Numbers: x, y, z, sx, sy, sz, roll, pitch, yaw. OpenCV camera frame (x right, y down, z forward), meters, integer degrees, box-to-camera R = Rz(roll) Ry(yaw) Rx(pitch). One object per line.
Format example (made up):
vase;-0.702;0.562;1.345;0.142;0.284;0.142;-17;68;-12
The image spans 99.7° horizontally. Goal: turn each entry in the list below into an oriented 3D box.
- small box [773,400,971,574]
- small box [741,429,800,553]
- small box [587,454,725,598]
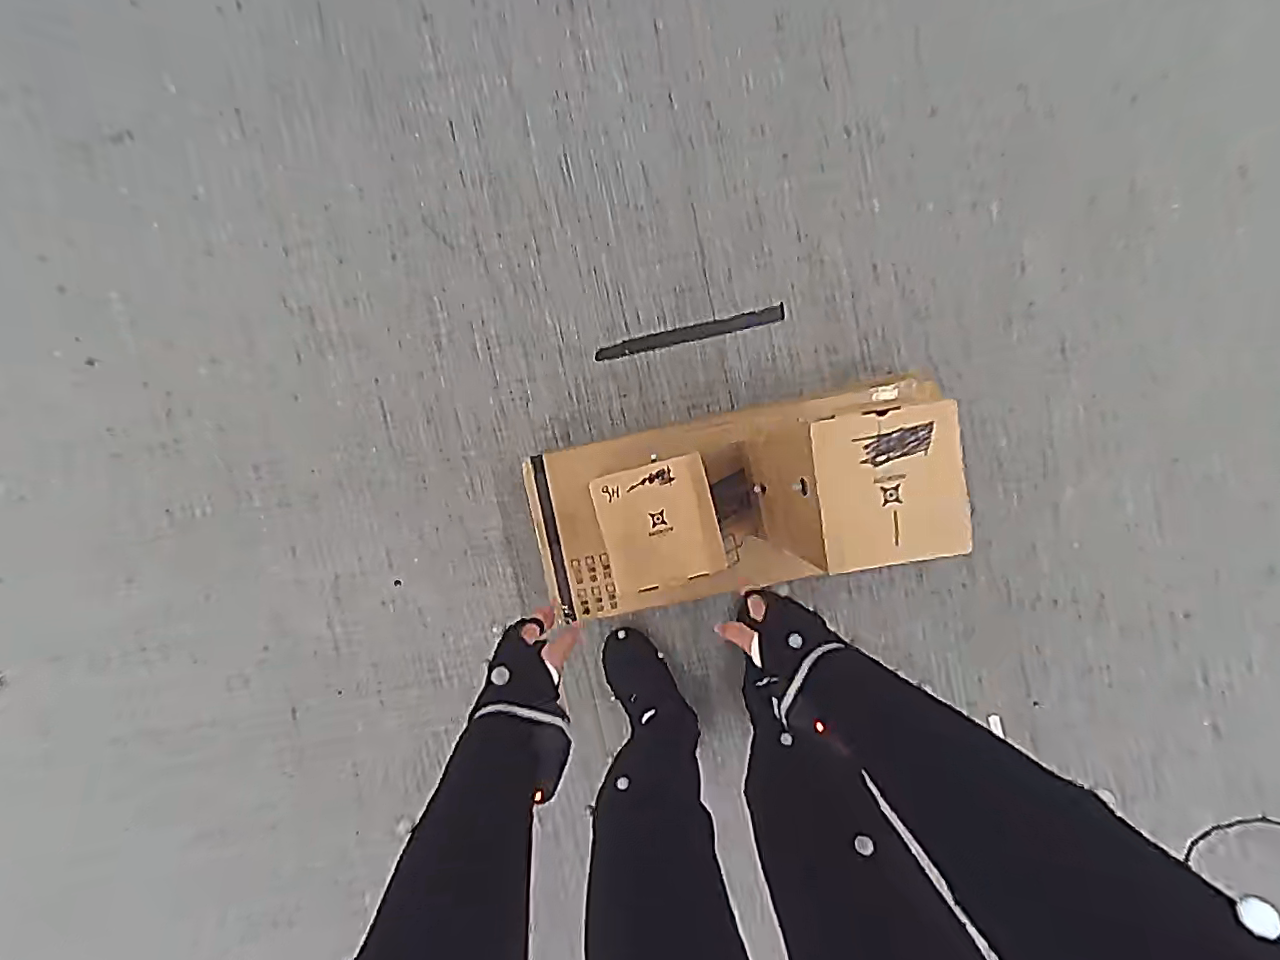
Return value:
small box;0.275;0.006;0.677;0.168;0.176;0.179;-9;93;0
small box;0.265;0.002;0.841;0.168;0.176;0.179;-13;92;0
small box;0.024;0.061;0.841;0.168;0.176;0.179;-14;93;0
